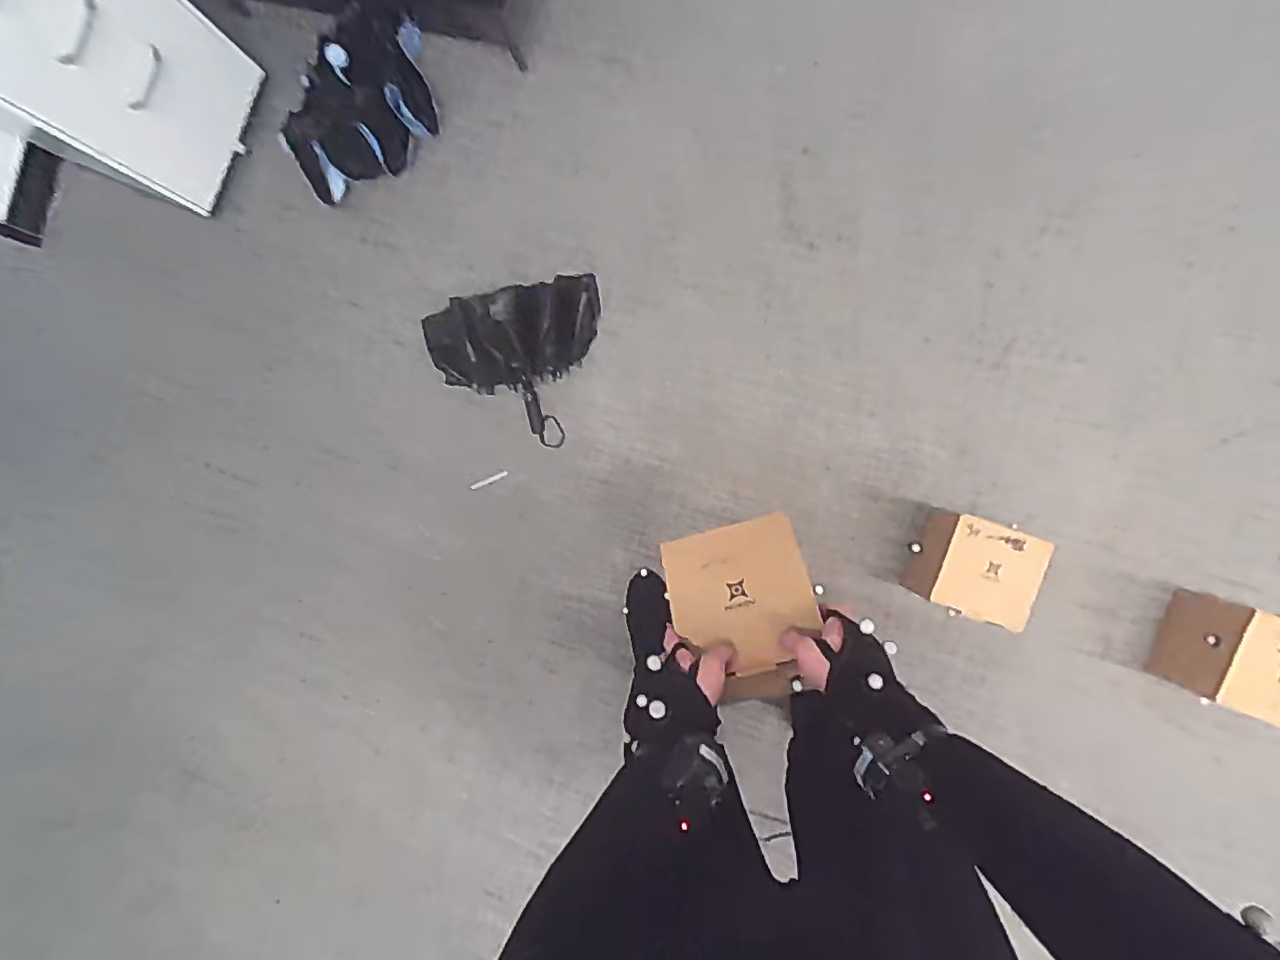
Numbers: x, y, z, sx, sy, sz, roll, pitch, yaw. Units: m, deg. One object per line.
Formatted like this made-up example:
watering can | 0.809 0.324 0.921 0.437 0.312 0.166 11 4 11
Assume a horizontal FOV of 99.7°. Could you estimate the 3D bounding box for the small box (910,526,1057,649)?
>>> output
small box | 0.655 0.199 1.058 0.168 0.176 0.179 20 91 10
